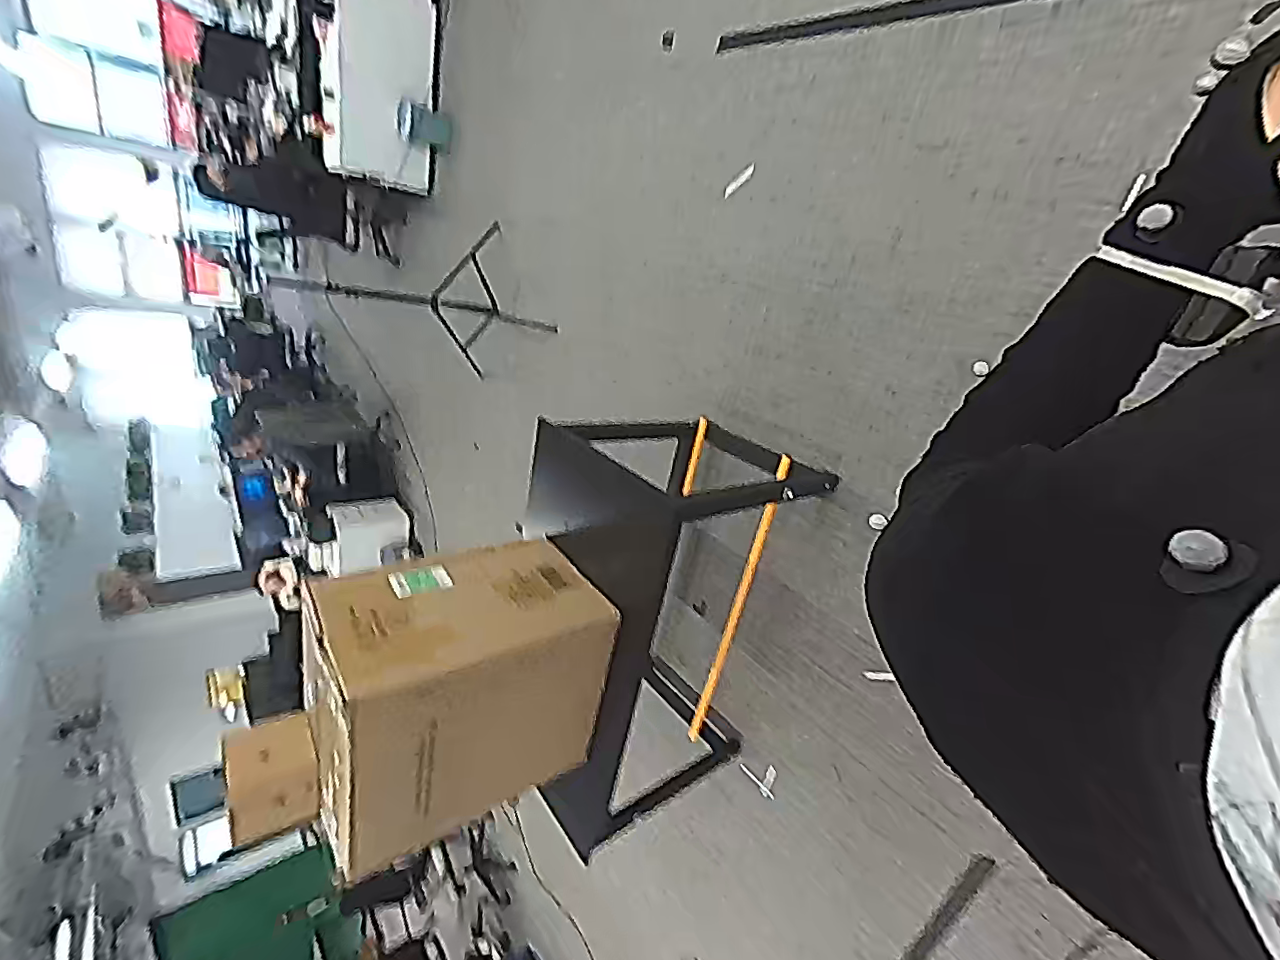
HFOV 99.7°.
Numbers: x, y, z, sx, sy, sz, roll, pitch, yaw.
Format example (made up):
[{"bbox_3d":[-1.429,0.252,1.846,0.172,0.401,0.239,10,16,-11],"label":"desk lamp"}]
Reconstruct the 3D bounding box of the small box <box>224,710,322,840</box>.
[{"bbox_3d":[-0.842,0.667,1.248,0.179,0.176,0.168,30,117,45],"label":"small box"}]
